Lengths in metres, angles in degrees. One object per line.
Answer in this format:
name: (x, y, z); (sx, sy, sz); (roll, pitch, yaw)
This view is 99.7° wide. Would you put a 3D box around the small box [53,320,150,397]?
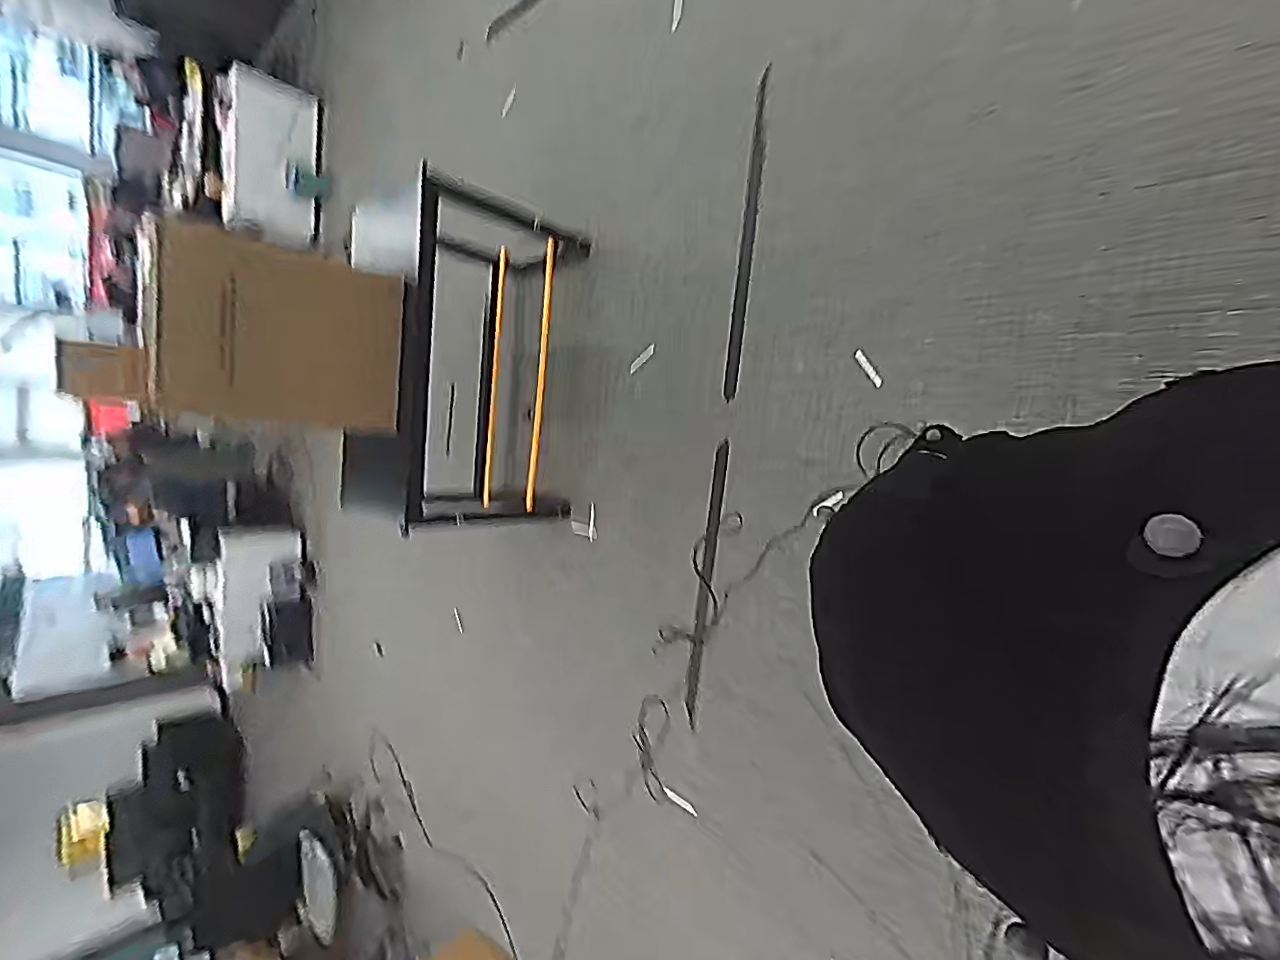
small box: (-1.431, -0.313, 1.435); (0.179, 0.176, 0.168); (3, 93, 40)
